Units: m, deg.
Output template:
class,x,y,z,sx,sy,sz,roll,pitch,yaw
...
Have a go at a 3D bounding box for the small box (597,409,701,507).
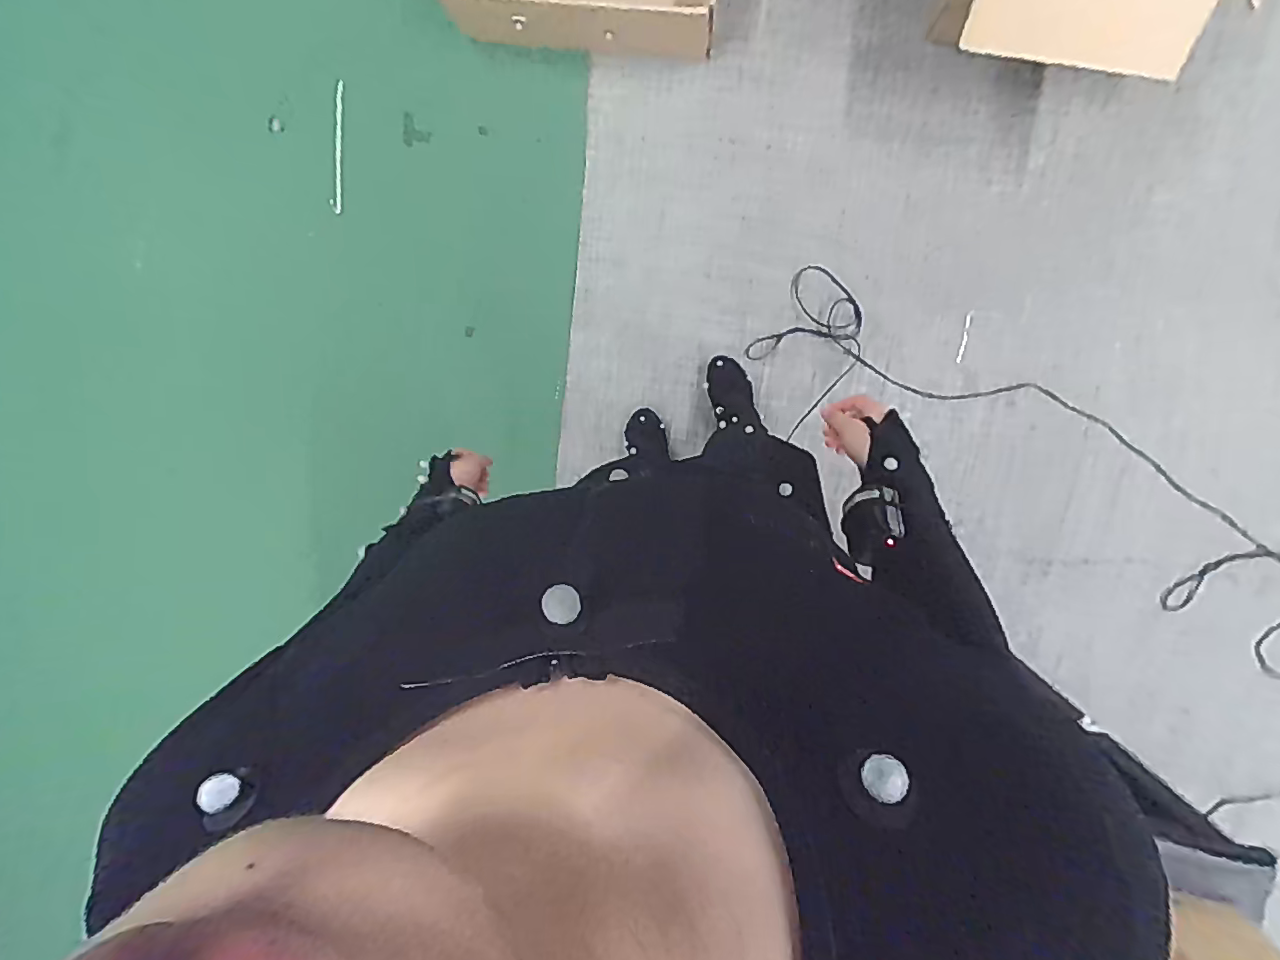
class,x,y,z,sx,sy,sz,roll,pitch,yaw
small box,0.030,-0.058,1.370,0.176,0.168,0.179,40,76,-30
